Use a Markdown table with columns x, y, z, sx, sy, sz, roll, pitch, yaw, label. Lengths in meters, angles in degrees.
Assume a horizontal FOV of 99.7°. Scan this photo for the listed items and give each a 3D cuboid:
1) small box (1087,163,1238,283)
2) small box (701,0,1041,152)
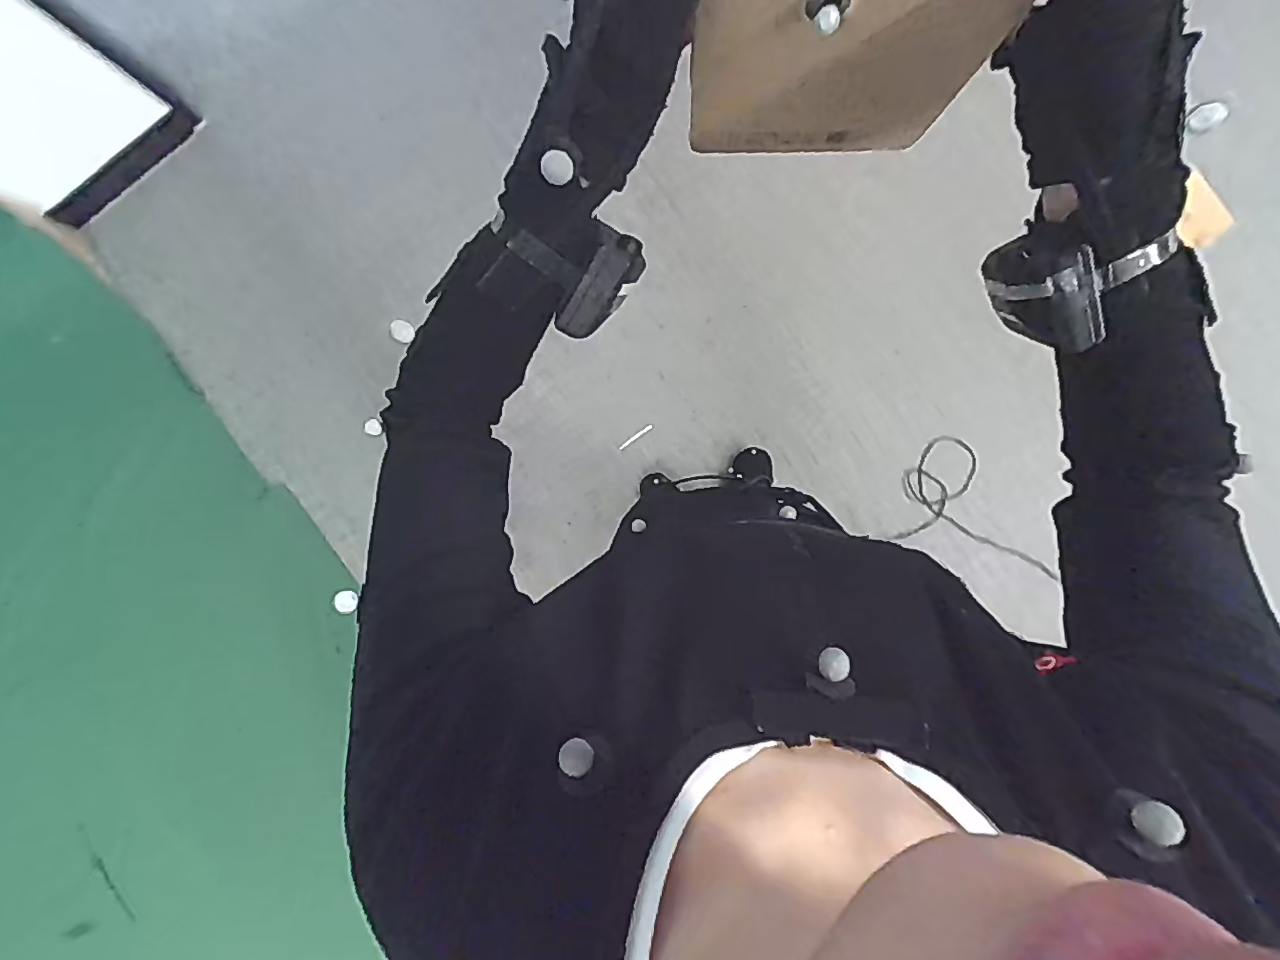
| x | y | z | sx | sy | sz | roll | pitch | yaw | label |
| --- | --- | --- | --- | --- | --- | --- | --- | --- | --- |
| 1.279 | -0.626 | 1.341 | 0.168 | 0.176 | 0.179 | -36 | 90 | 3 | small box |
| 0.124 | -0.327 | 0.315 | 0.168 | 0.176 | 0.179 | 3 | 95 | 5 | small box |
